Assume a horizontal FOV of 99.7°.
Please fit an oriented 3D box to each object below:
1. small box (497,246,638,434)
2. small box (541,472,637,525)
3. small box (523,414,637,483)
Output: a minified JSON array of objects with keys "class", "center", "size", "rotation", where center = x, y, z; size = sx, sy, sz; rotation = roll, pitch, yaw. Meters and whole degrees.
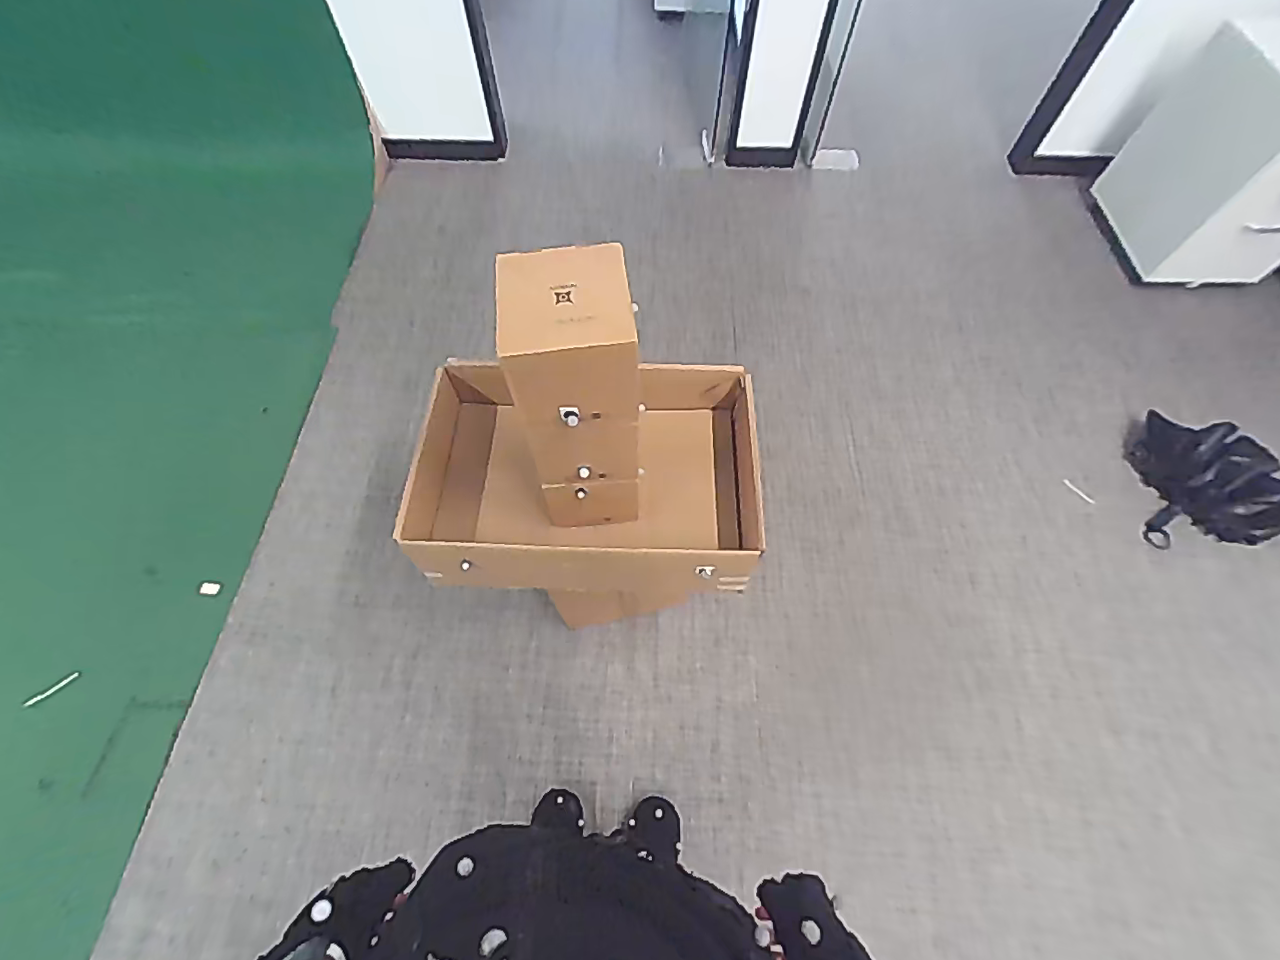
[{"class":"small box","center":[-0.095,-0.187,0.742],"size":[0.168,0.176,0.179],"rotation":[-8,63,-3]},{"class":"small box","center":[-0.093,-0.031,1.028],"size":[0.168,0.176,0.179],"rotation":[-5,61,-2]},{"class":"small box","center":[-0.092,-0.112,0.885],"size":[0.168,0.176,0.179],"rotation":[-4,62,-2]}]
